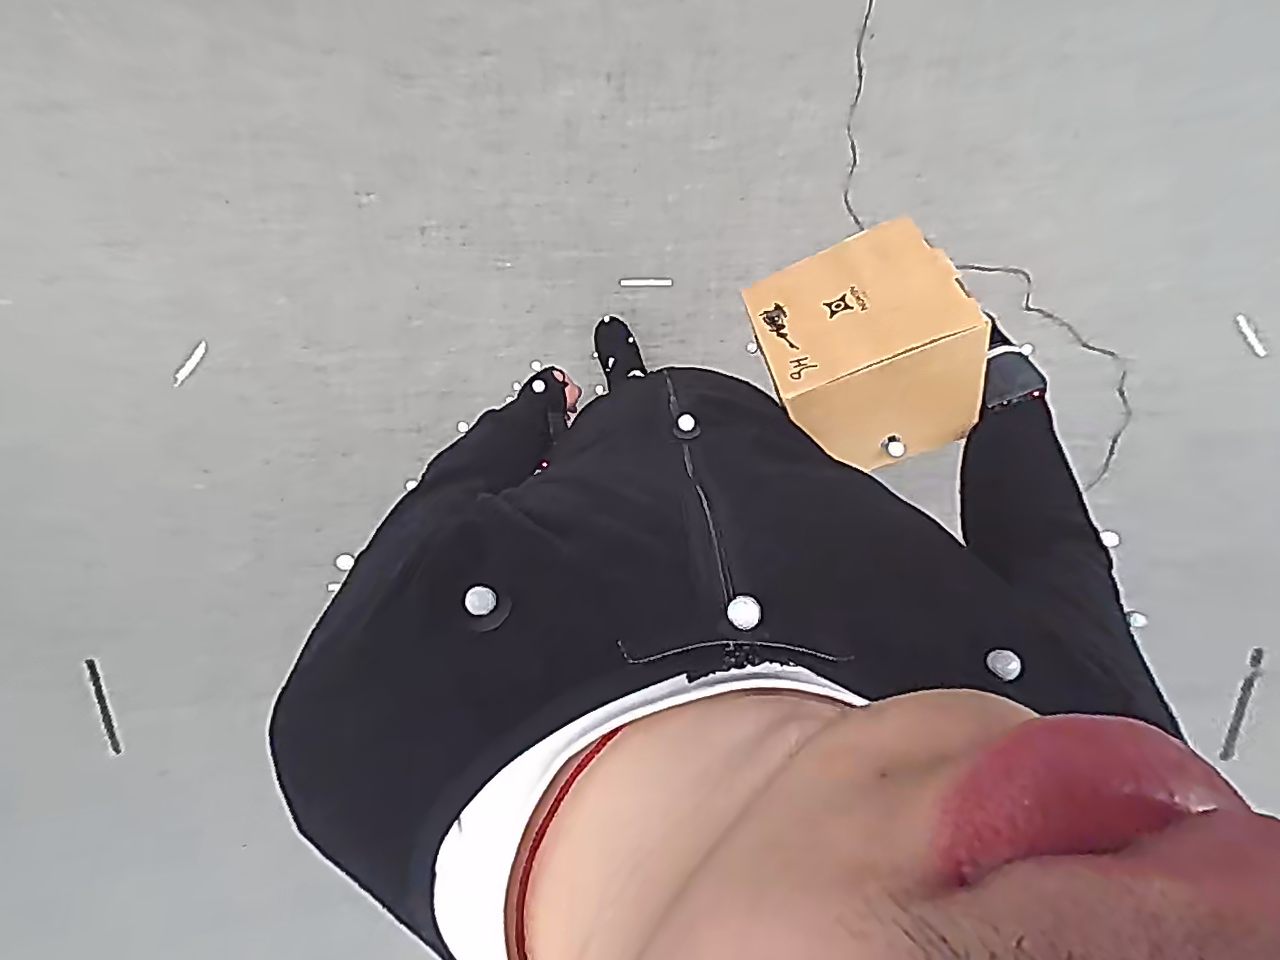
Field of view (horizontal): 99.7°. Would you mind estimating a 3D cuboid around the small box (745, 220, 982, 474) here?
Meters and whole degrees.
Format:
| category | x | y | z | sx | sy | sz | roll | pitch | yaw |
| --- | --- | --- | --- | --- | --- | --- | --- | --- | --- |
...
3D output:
| category | x | y | z | sx | sy | sz | roll | pitch | yaw |
| --- | --- | --- | --- | --- | --- | --- | --- | --- | --- |
| small box | 0.234 | -0.133 | 0.588 | 0.179 | 0.168 | 0.176 | -20 | 143 | 15 |
